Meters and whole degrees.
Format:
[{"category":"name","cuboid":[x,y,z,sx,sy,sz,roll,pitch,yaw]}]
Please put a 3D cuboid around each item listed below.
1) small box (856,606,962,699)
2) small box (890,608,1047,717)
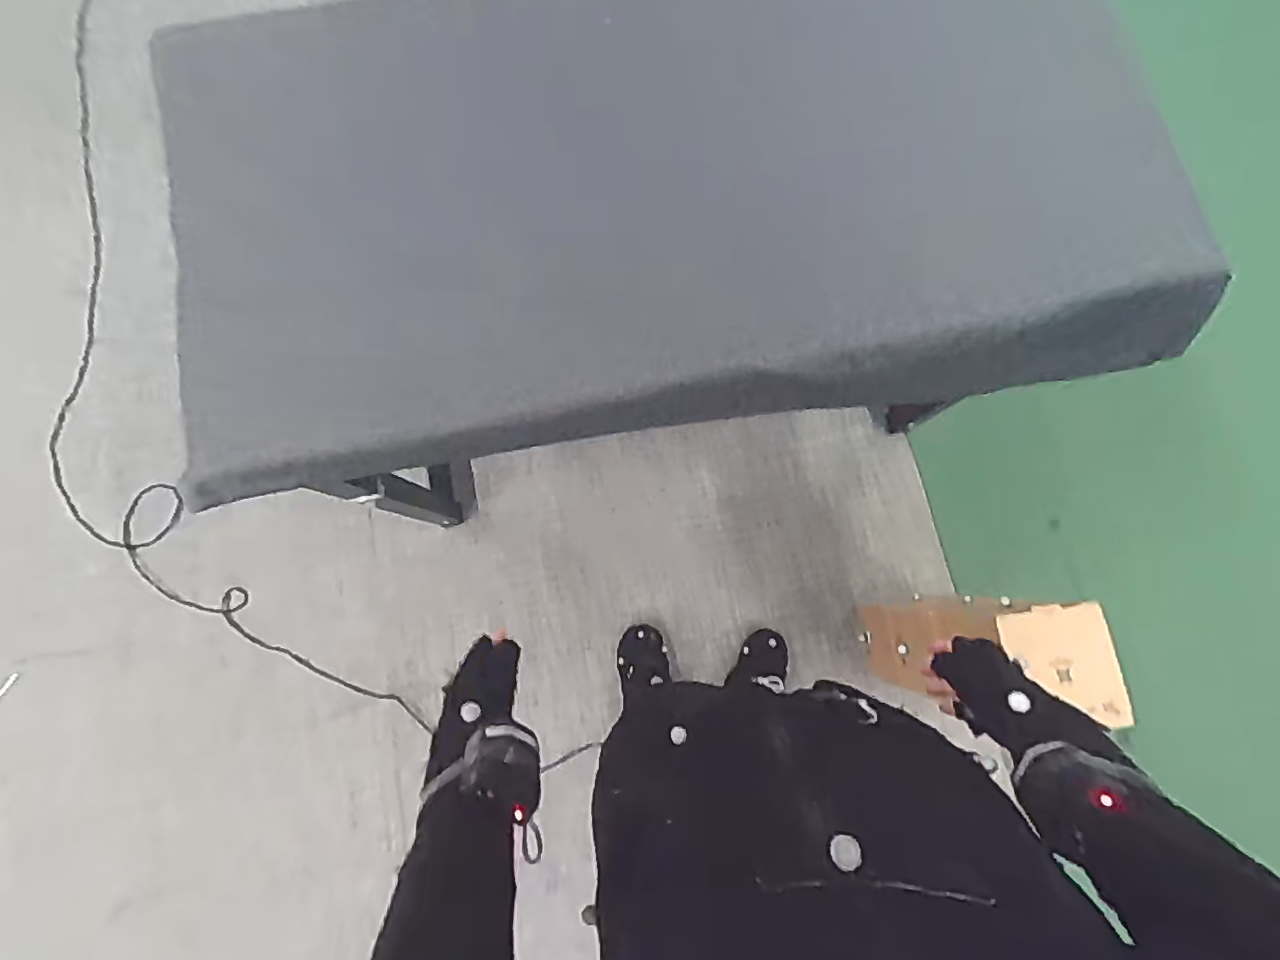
[{"category":"small box","cuboid":[0.603,0.370,1.184,0.179,0.176,0.168,-8,77,0]},{"category":"small box","cuboid":[0.608,0.336,1.022,0.179,0.176,0.168,-7,77,-1]}]
